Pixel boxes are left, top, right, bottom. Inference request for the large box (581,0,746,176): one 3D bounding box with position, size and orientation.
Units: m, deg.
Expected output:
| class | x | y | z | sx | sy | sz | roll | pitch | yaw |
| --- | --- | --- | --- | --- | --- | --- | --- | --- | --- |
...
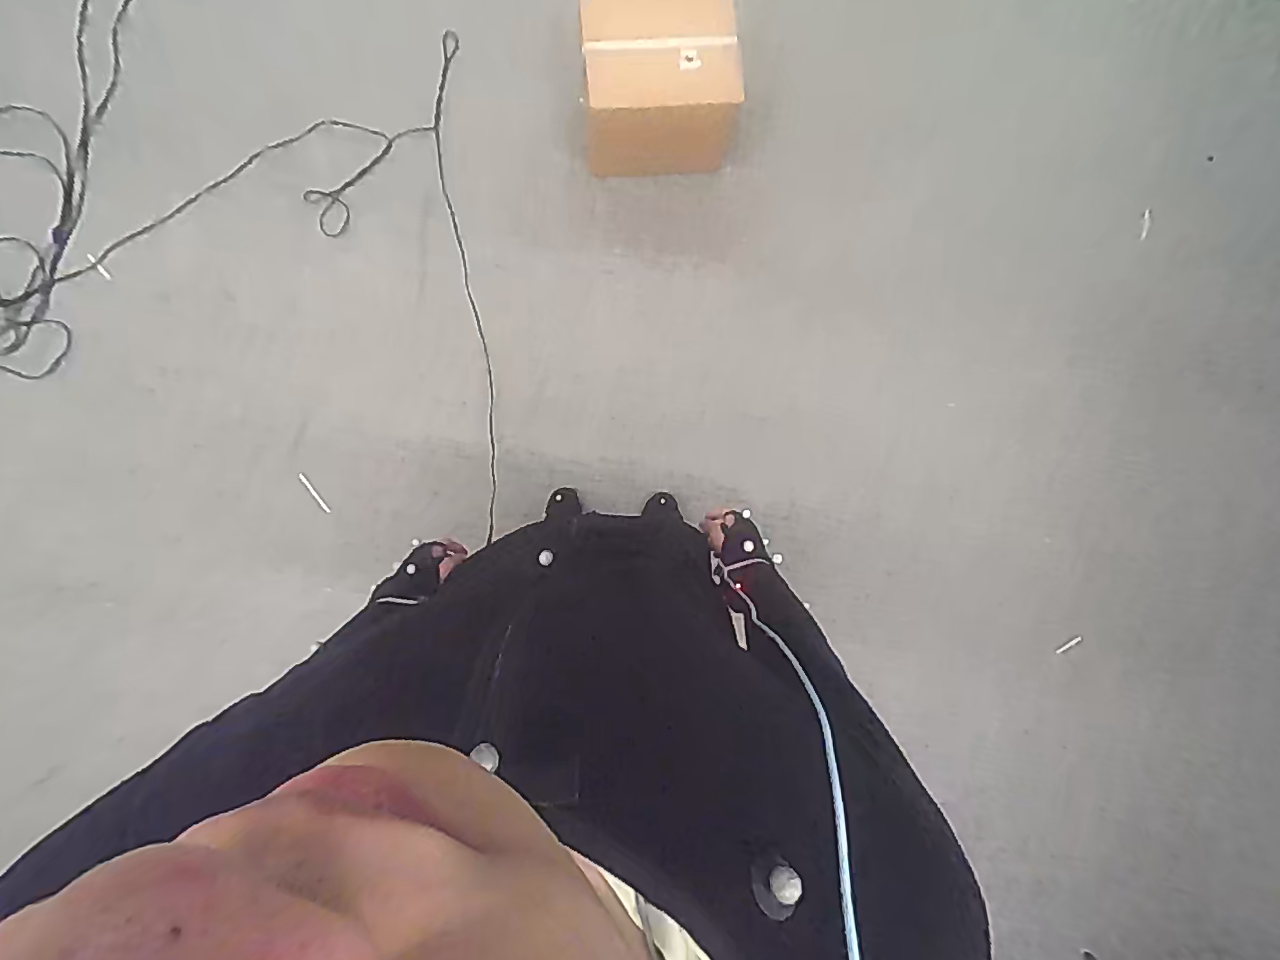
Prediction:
| class | x | y | z | sx | sy | sz | roll | pitch | yaw |
| --- | --- | --- | --- | --- | --- | --- | --- | --- | --- |
| large box | 0.050 | -1.108 | 1.535 | 0.408 | 0.320 | 0.320 | -5 | 89 | -5 |
